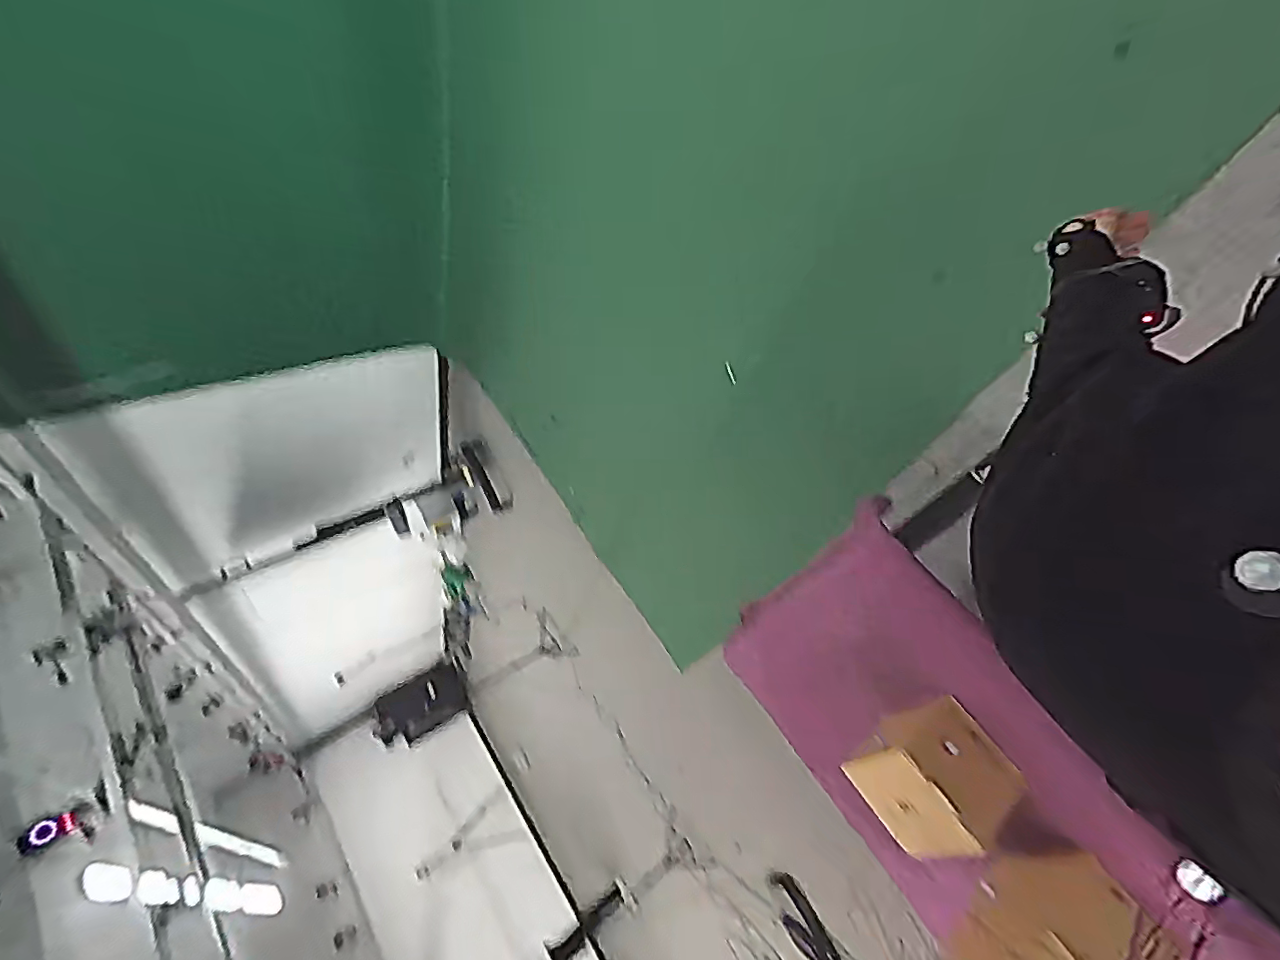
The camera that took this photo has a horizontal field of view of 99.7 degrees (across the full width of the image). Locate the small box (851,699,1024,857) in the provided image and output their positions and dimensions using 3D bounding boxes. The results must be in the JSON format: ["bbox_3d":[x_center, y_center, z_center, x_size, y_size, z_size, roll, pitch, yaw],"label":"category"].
[{"bbox_3d":[0.511,0.504,0.924,0.168,0.176,0.179,52,146,21],"label":"small box"}]
